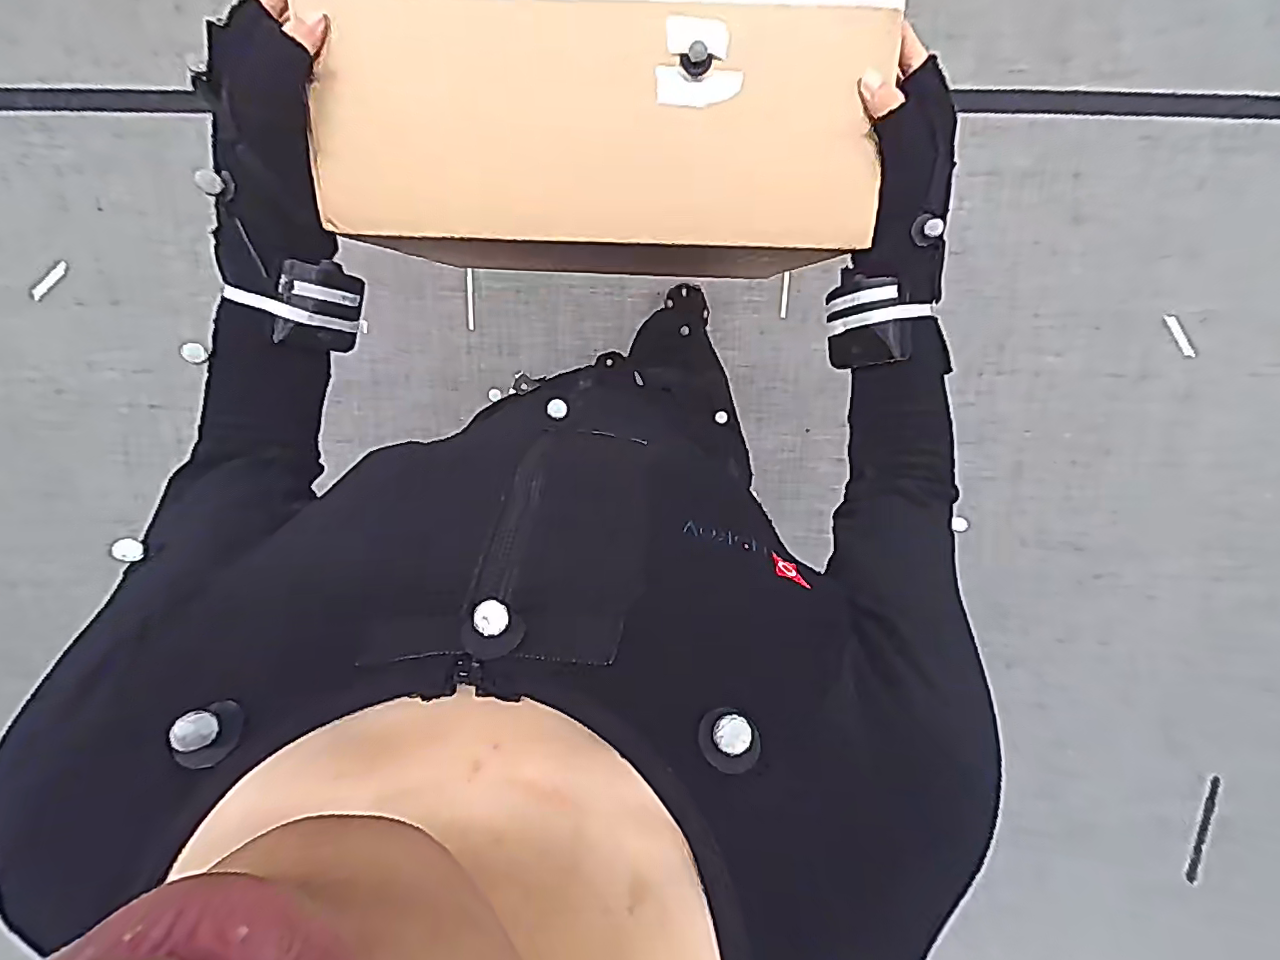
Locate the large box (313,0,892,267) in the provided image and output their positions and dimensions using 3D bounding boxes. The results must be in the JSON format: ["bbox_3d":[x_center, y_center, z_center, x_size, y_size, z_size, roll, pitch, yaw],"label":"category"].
[{"bbox_3d":[-0.028,-0.382,0.509,0.408,0.320,0.320,1,107,-2],"label":"large box"}]
